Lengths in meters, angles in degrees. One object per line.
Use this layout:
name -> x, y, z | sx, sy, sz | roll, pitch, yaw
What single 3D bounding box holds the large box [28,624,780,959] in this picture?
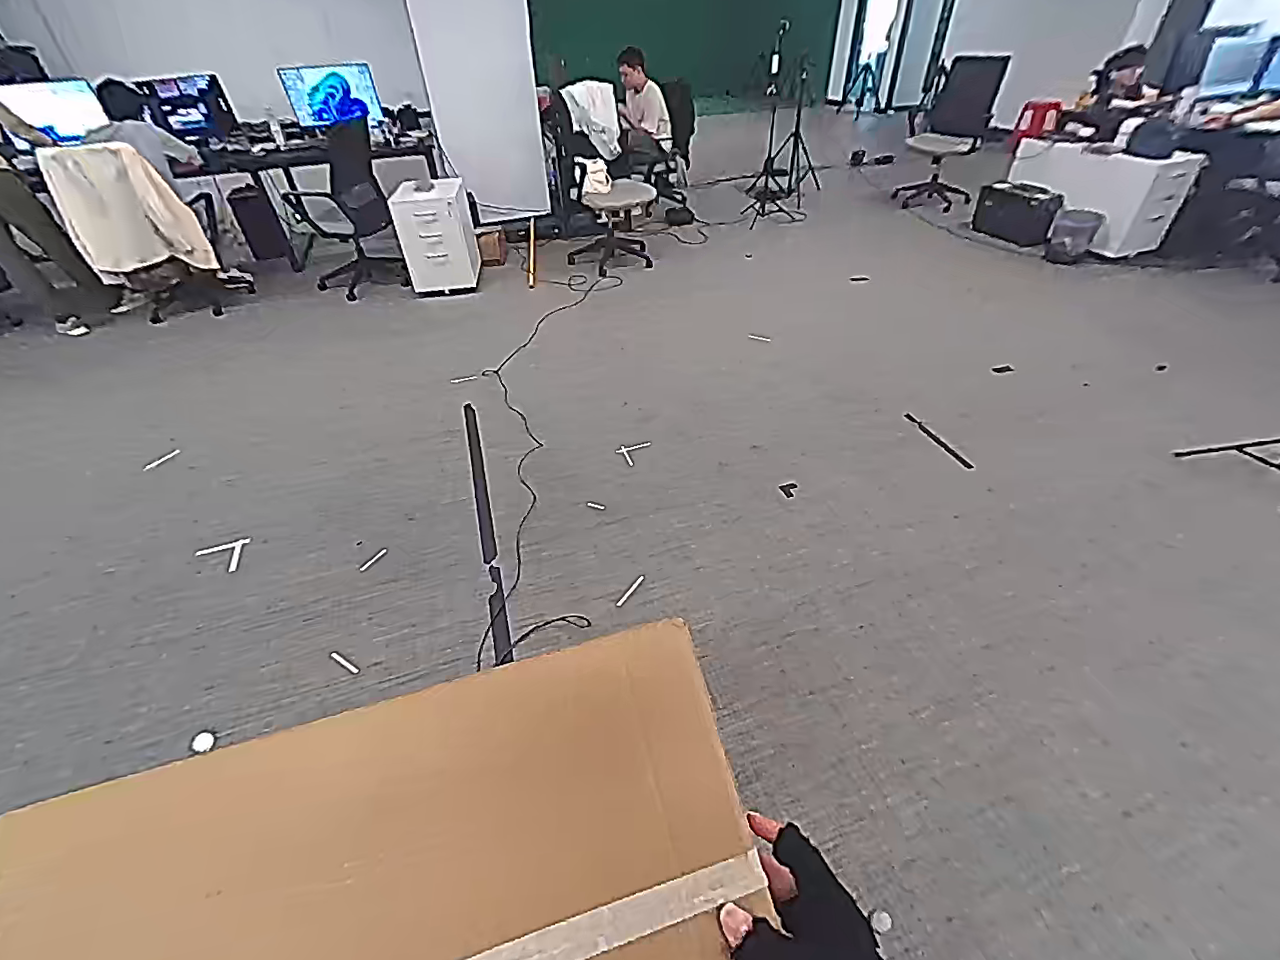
large box -> -0.135, 0.340, 0.441 | 0.408, 0.320, 0.320 | -13, 72, -11
